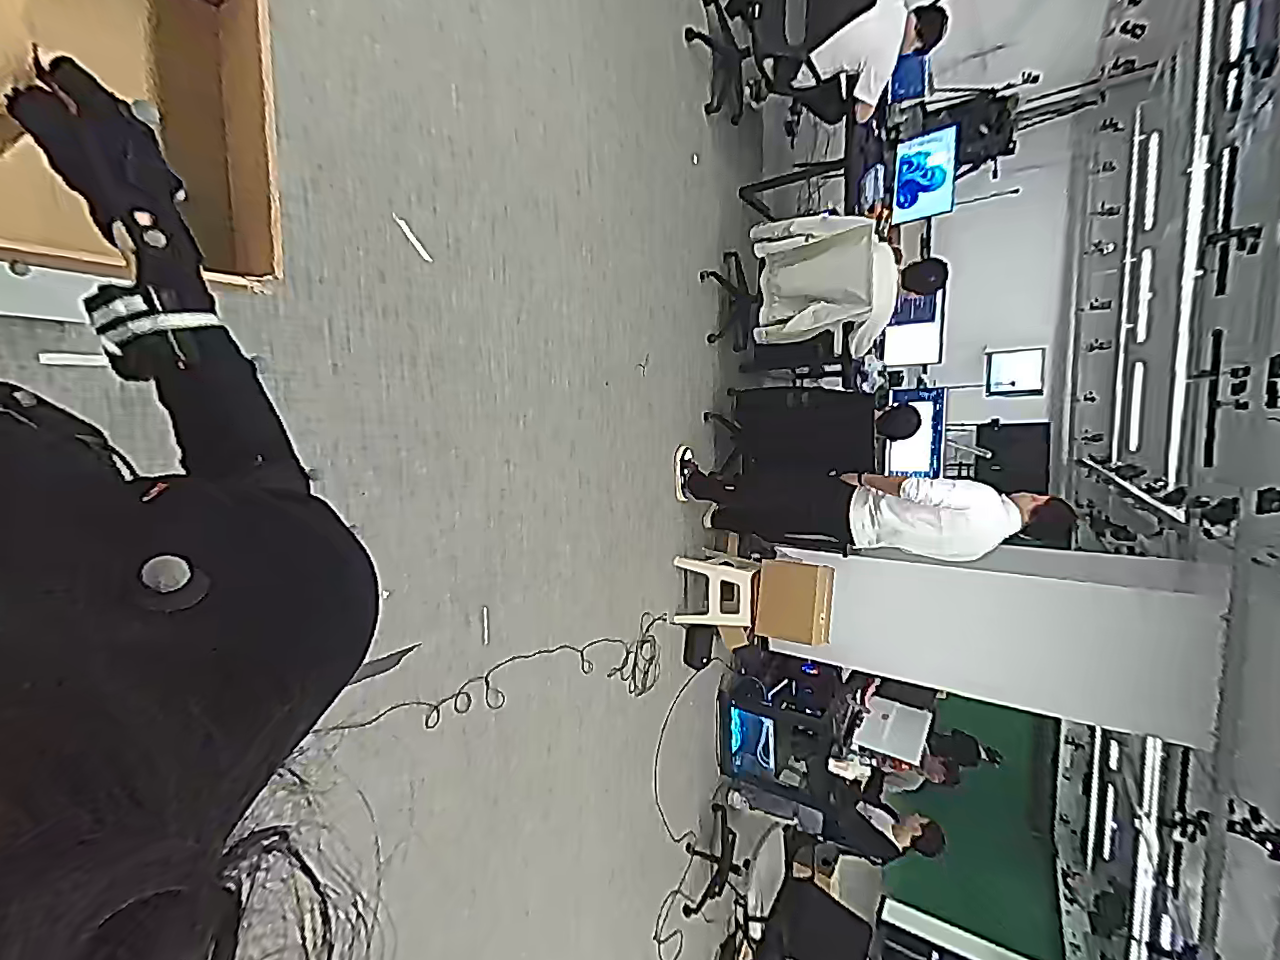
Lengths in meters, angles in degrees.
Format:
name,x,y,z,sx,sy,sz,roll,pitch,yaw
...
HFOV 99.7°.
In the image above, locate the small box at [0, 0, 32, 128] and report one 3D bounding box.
name,x,y,z,sx,sy,sz,roll,pitch,yaw
small box,-0.563,-0.373,0.371,0.168,0.176,0.179,-8,108,-57
